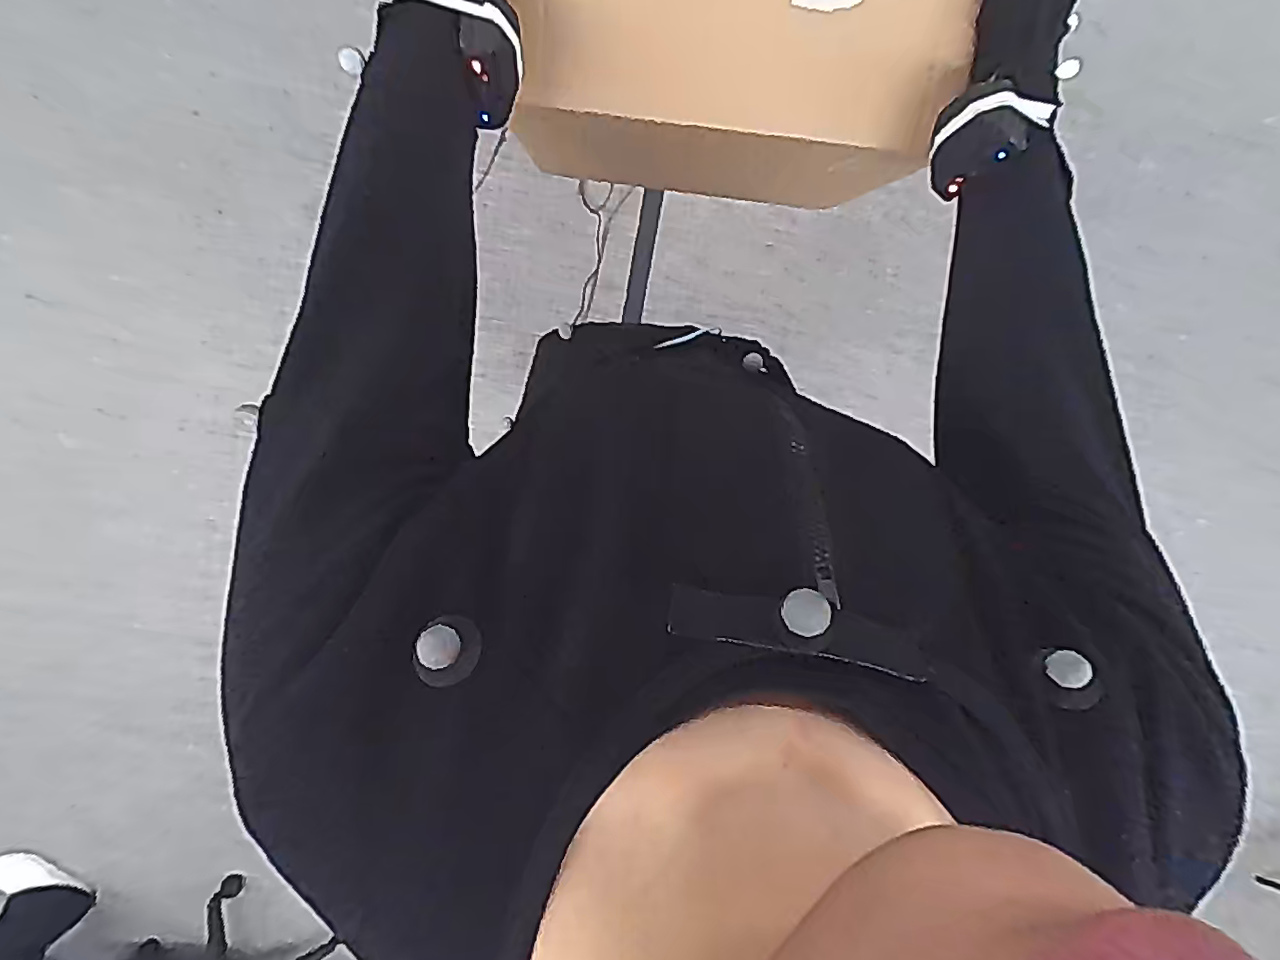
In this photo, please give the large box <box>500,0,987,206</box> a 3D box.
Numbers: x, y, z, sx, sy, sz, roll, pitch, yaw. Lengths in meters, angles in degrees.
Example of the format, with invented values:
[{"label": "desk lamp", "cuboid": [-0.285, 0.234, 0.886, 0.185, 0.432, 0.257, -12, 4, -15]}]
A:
[{"label": "large box", "cuboid": [0.087, -0.496, 0.560, 0.408, 0.320, 0.320, 6, 110, -3]}]
